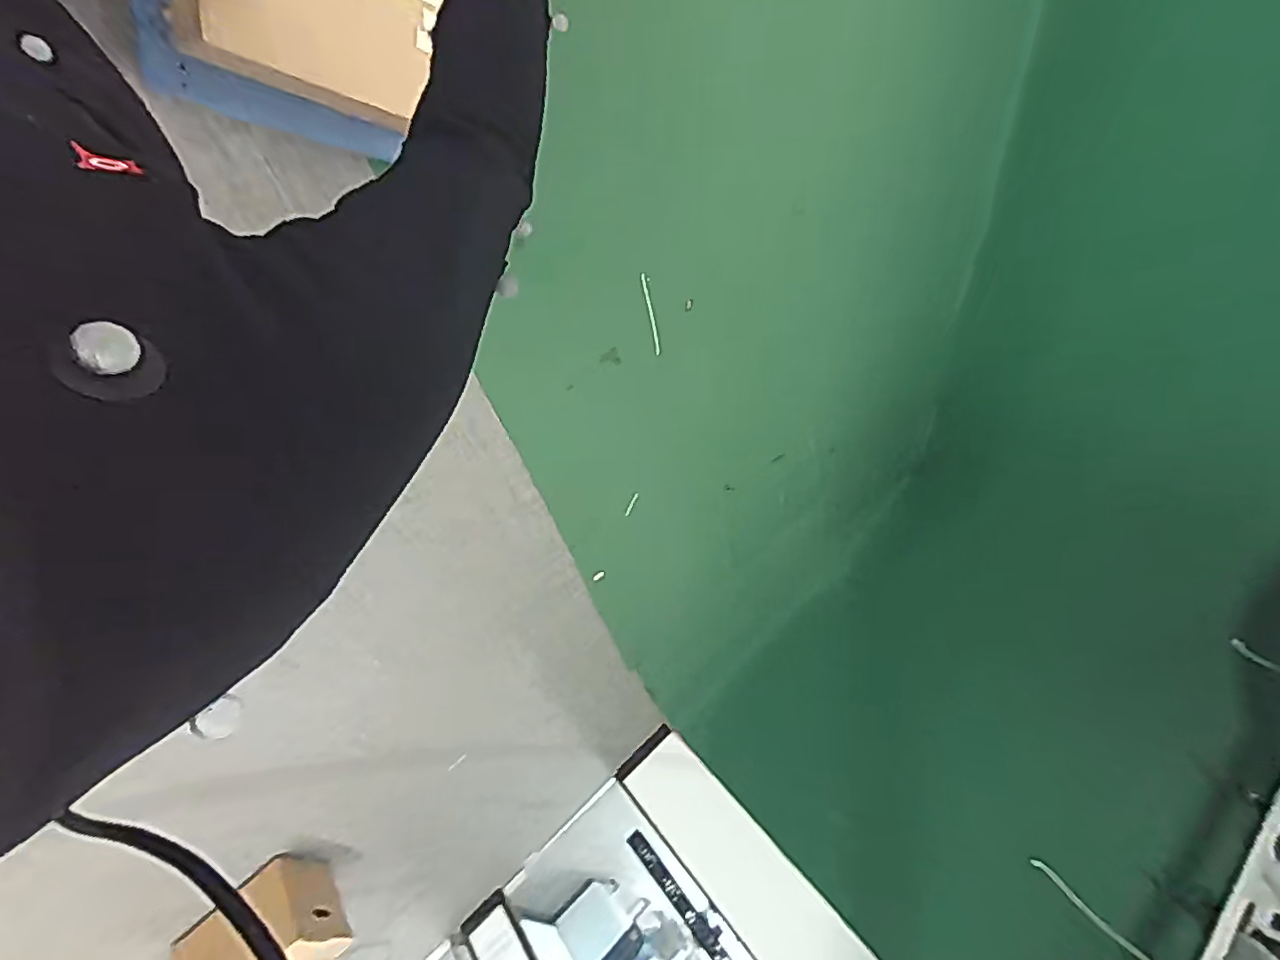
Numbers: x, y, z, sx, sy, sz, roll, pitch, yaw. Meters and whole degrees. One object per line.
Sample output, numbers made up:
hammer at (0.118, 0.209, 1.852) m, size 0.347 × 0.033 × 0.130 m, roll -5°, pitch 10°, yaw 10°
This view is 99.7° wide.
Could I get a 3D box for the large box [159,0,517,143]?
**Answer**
large box at (-0.442, -0.739, 0.797) m, size 0.408 × 0.320 × 0.320 m, roll -7°, pitch 121°, yaw -44°
